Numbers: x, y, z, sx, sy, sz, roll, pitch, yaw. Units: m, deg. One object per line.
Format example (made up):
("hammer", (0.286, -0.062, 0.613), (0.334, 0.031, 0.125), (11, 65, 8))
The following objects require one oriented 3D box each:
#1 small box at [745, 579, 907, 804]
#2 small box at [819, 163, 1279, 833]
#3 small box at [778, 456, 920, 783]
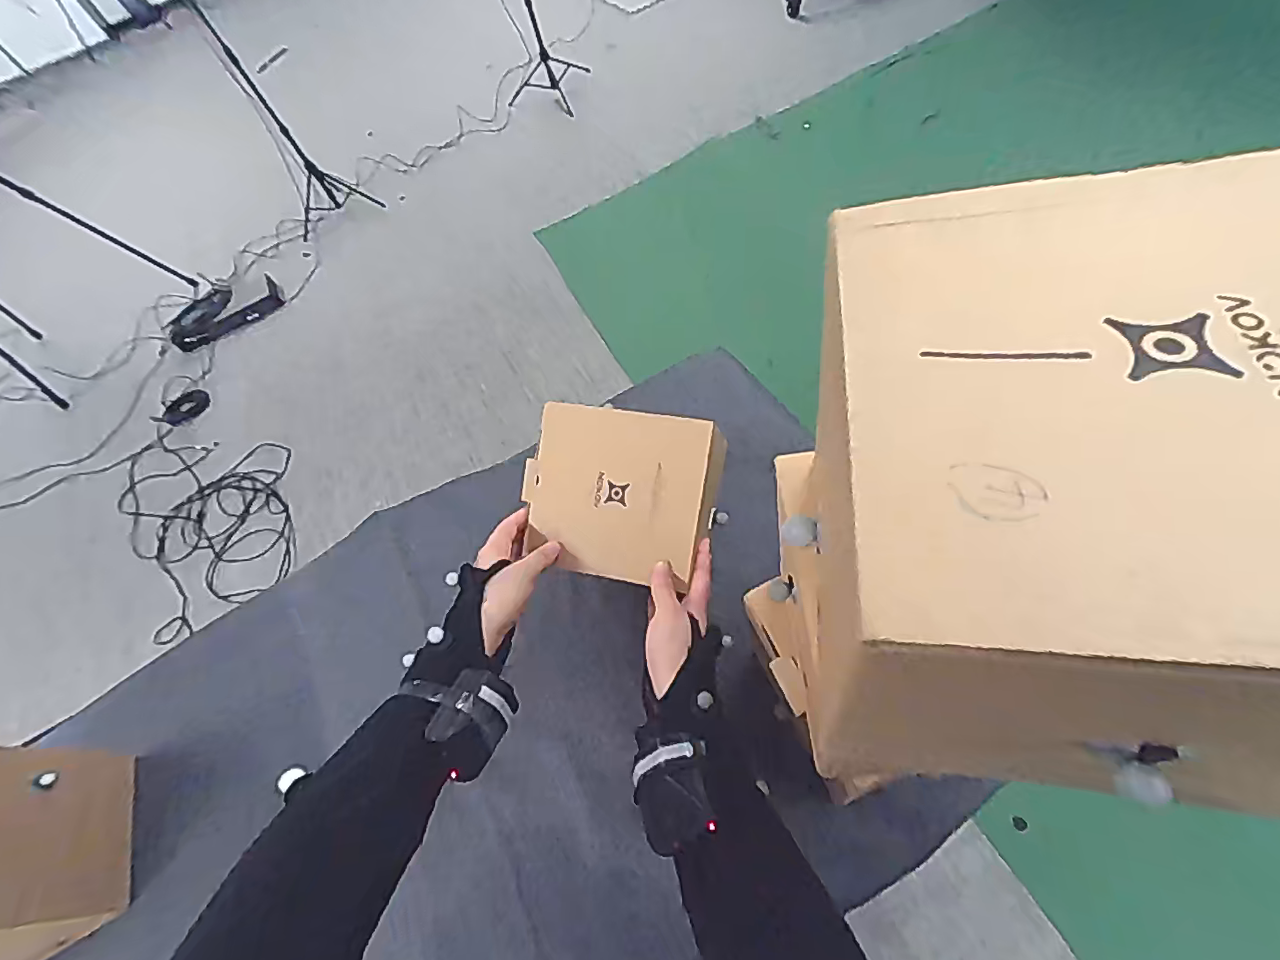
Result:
("small box", (0.216, 0.169, 0.485), (0.179, 0.176, 0.168), (-26, 54, -1))
("small box", (0.161, 0.019, 0.195), (0.179, 0.176, 0.168), (1, 57, 16))
("small box", (0.189, 0.090, 0.343), (0.179, 0.176, 0.168), (-7, 55, 10))
